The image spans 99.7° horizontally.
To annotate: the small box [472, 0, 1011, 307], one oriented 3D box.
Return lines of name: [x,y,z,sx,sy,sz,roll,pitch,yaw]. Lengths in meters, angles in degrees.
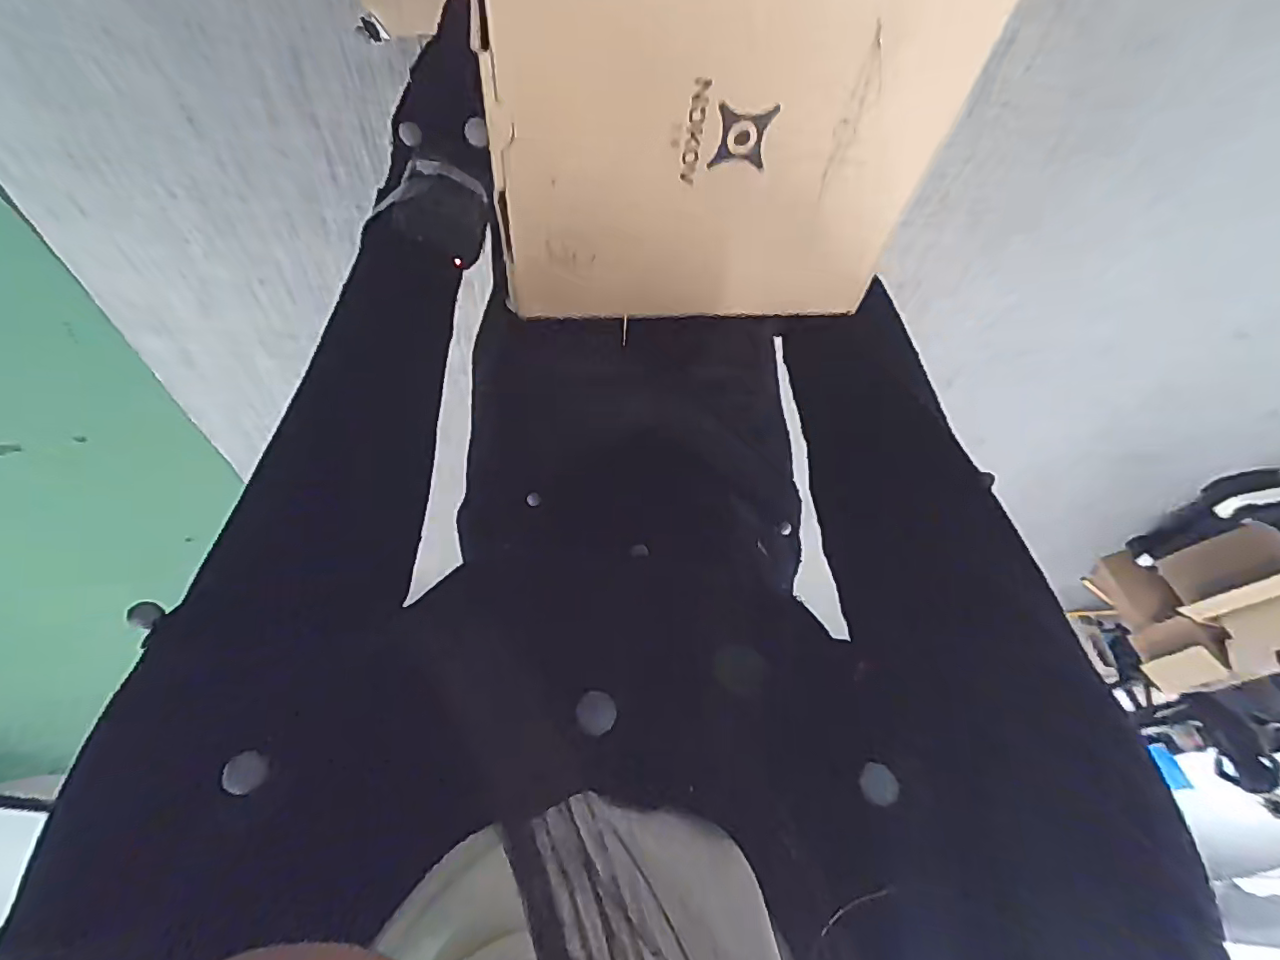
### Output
small box: [0.022,-0.199,0.240,0.179,0.176,0.168,-5,149,-9]
